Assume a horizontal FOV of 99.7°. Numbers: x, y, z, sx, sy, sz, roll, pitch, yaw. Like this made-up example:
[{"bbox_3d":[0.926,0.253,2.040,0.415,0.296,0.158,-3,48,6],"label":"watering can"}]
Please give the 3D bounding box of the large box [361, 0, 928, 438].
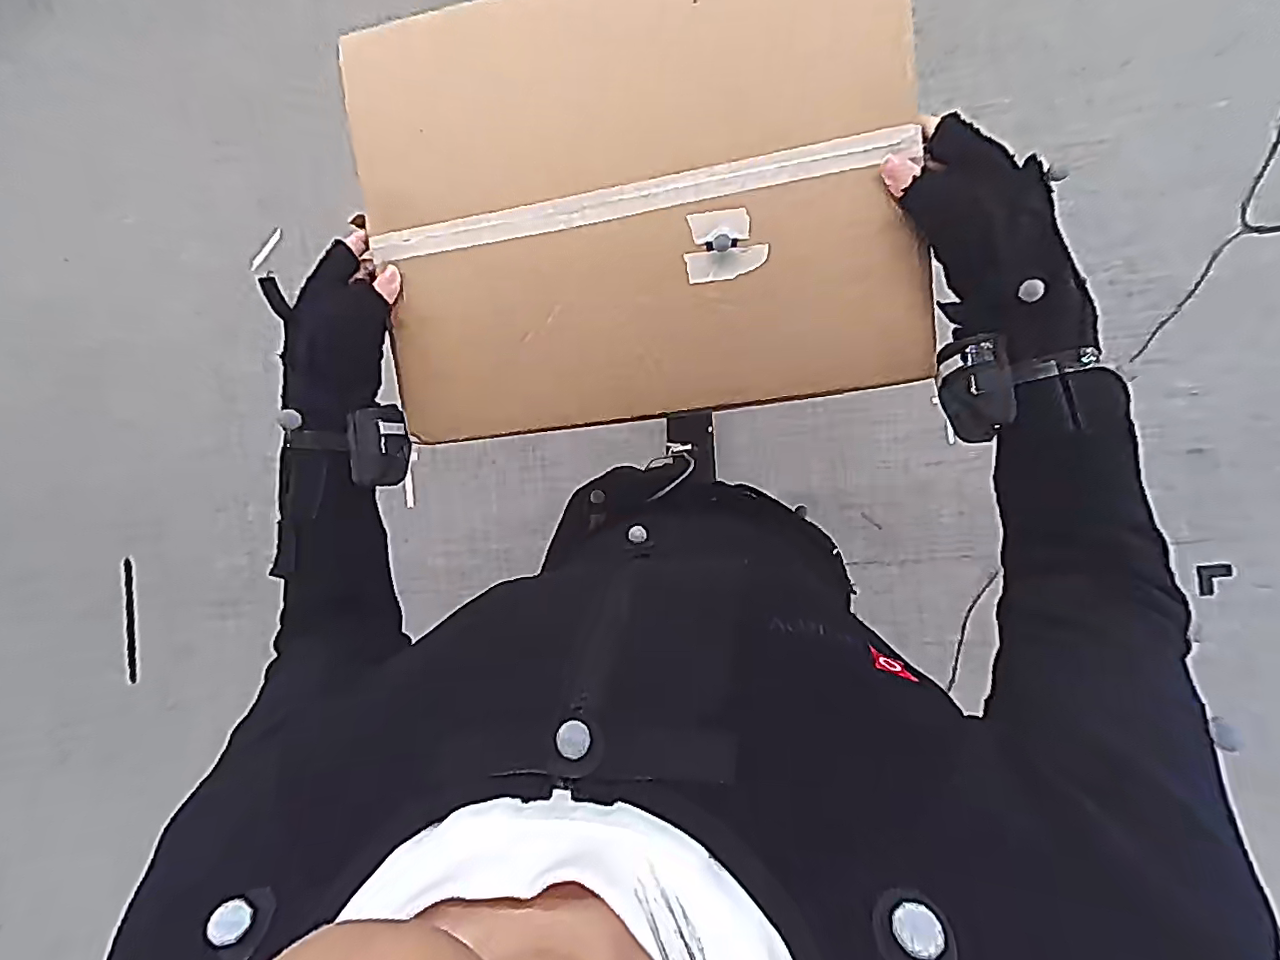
[{"bbox_3d":[0.014,-0.229,0.554,0.408,0.320,0.320,-7,97,9],"label":"large box"}]
